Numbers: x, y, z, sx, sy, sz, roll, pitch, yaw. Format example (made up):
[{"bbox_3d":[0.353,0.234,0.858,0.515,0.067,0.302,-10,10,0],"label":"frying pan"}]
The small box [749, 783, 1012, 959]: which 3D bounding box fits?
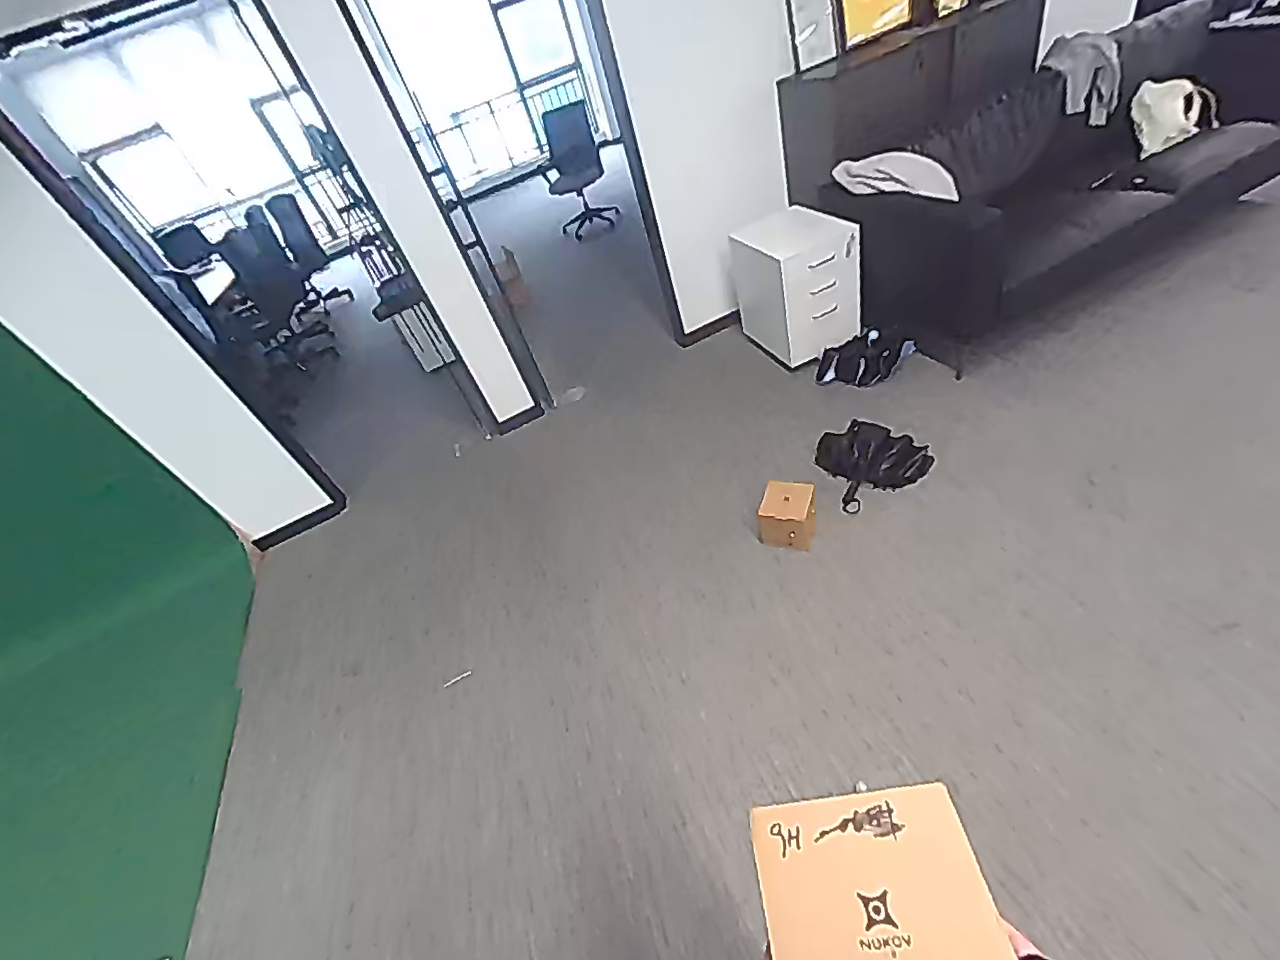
[{"bbox_3d":[0.197,0.380,0.450,0.168,0.176,0.179,-12,42,9],"label":"small box"}]
